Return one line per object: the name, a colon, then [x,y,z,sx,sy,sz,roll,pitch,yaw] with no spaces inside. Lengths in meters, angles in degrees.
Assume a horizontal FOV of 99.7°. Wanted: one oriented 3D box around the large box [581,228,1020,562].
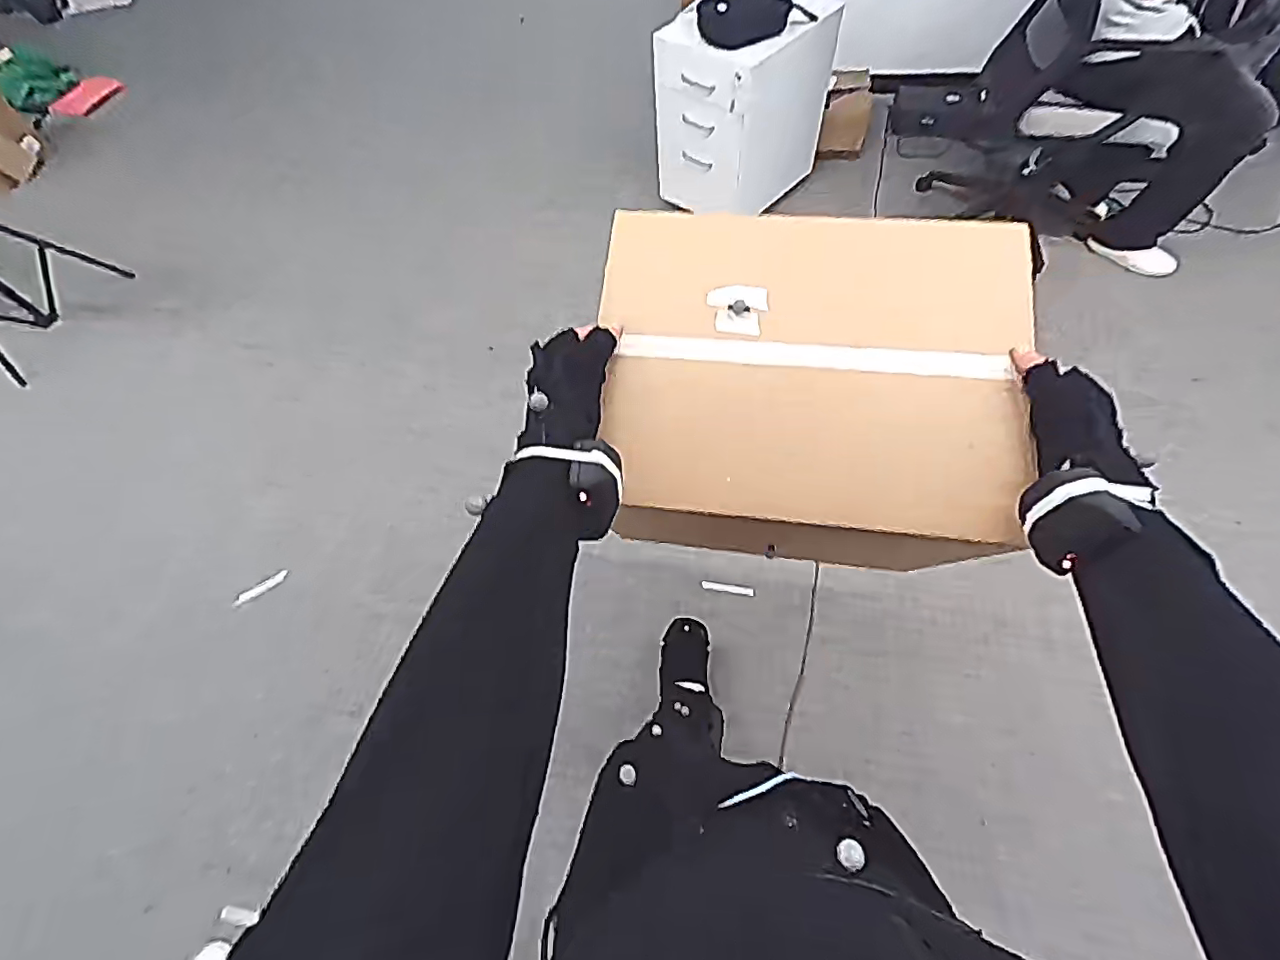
large box: [0.175,-0.079,0.675,0.408,0.320,0.320,6,76,9]
